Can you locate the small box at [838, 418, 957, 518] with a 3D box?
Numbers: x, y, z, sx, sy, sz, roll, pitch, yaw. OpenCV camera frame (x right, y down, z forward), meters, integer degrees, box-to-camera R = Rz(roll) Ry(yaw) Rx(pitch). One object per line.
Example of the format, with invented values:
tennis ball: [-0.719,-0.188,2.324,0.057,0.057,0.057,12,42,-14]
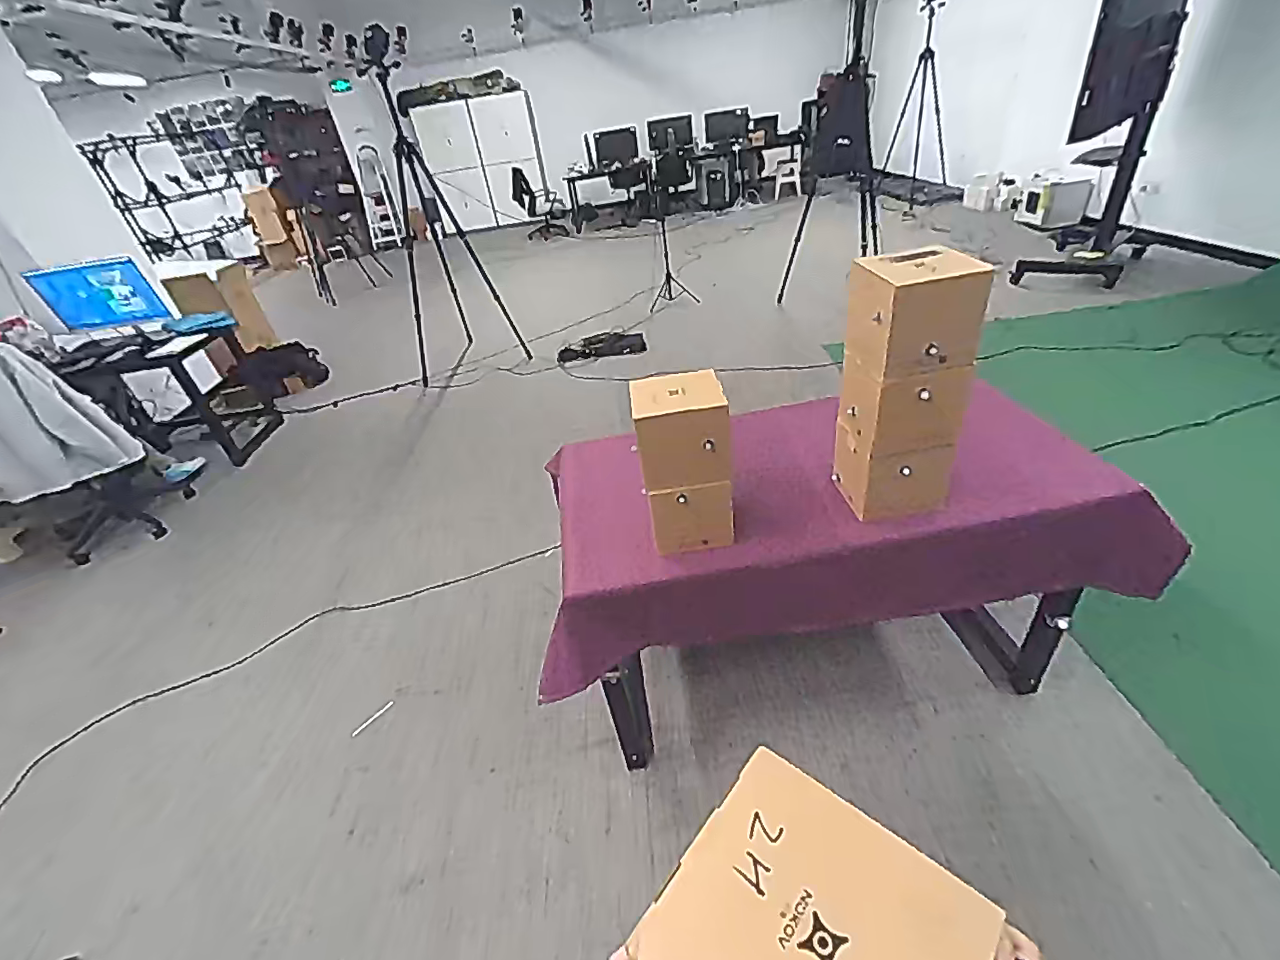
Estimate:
small box: [0.536,-0.035,1.154,0.179,0.176,0.168,-9,35,1]

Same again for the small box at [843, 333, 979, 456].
small box: [0.517,-0.167,1.061,0.179,0.176,0.168,-10,35,1]

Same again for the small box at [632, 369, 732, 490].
small box: [0.083,-0.099,1.069,0.179,0.176,0.168,-8,35,3]

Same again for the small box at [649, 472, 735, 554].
small box: [0.106,0.034,1.162,0.168,0.176,0.179,-9,34,2]
